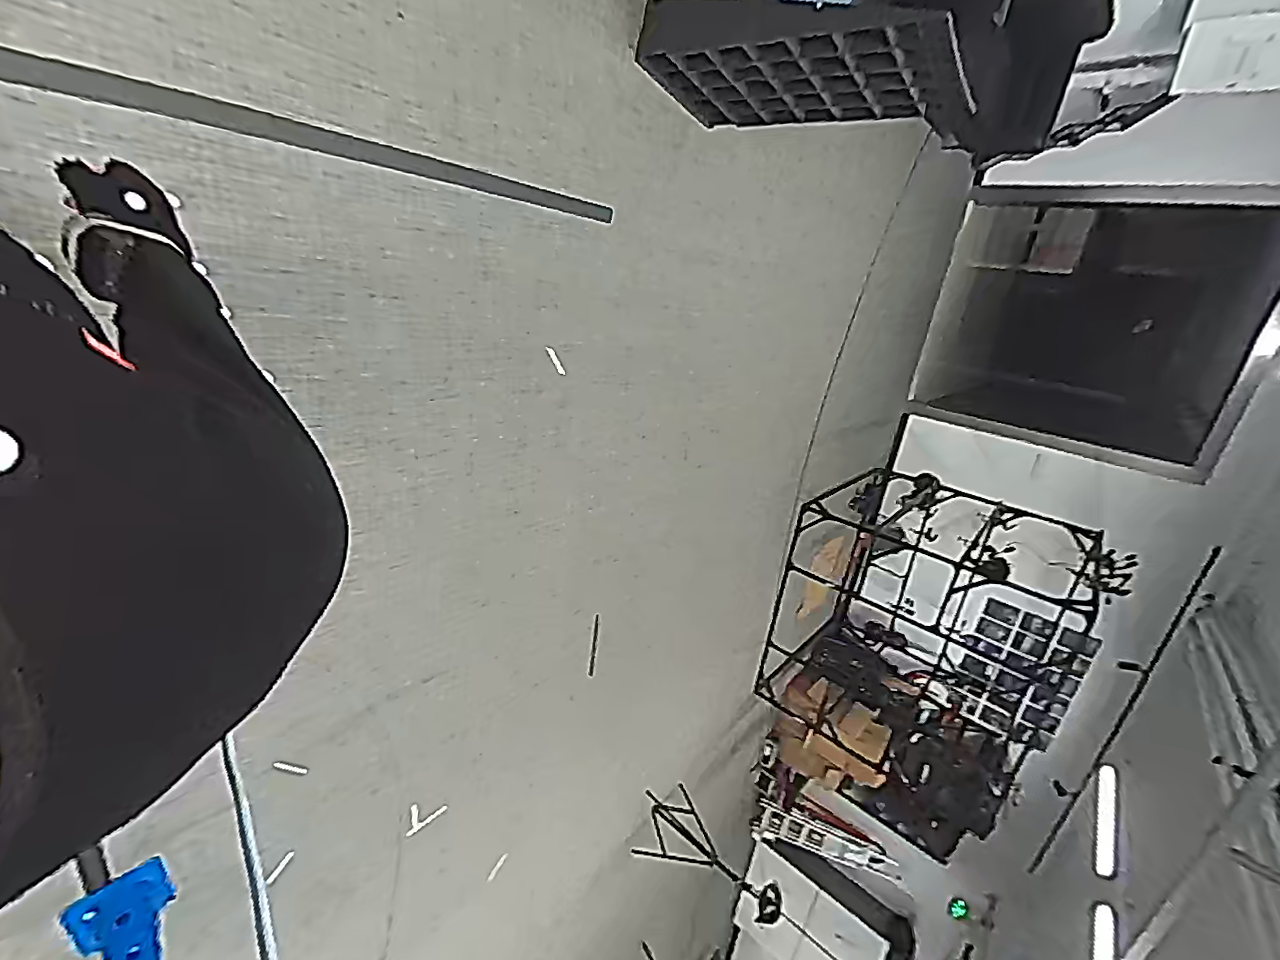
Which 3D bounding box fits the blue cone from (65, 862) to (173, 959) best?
[{"bbox_3d":[-1.252,1.188,1.343,0.192,0.380,0.193,-21,125,-48],"label":"blue cone"}]
